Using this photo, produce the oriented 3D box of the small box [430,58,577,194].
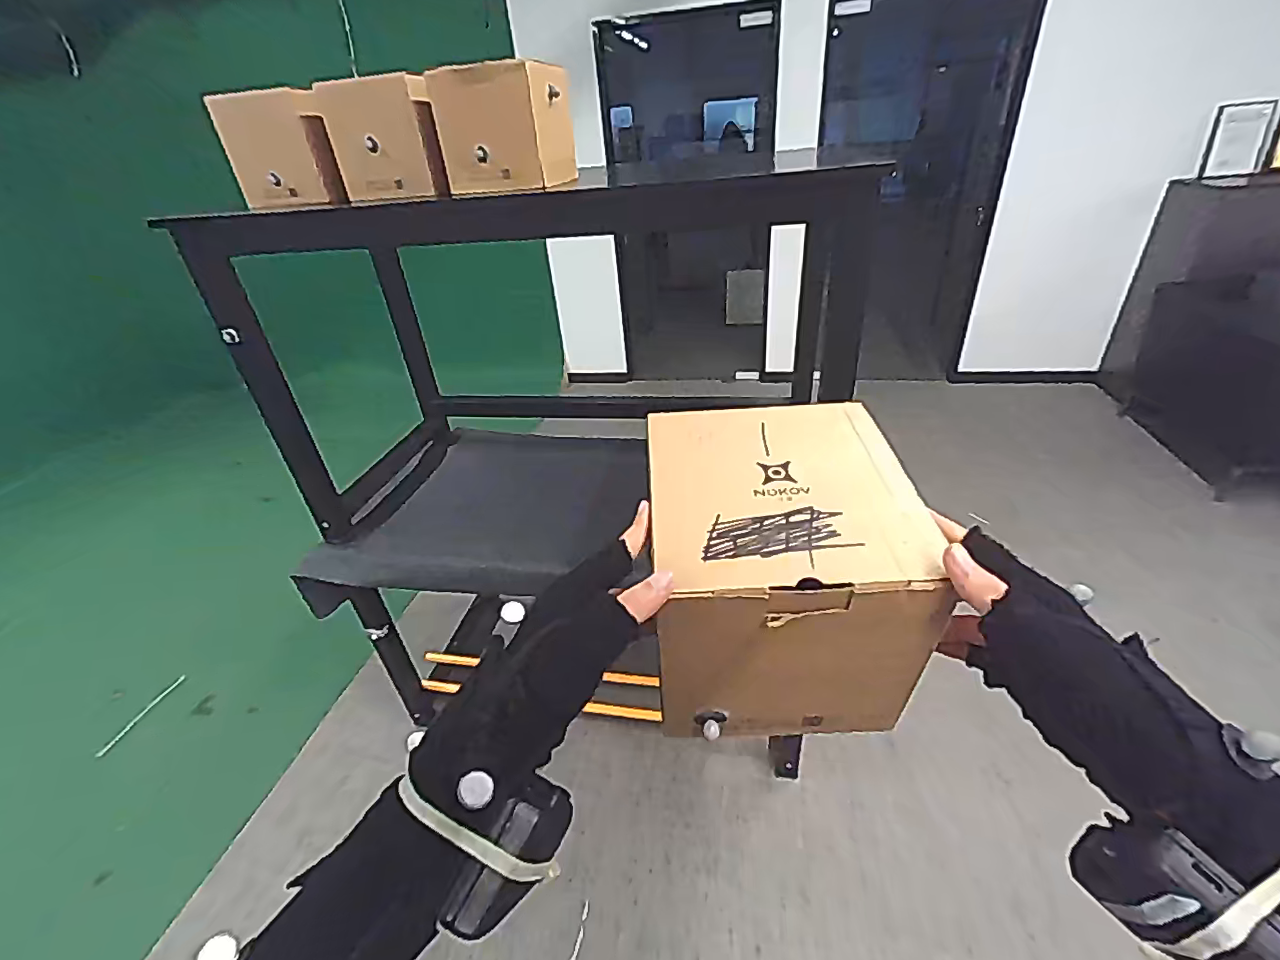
[{"bbox_3d":[-0.208,-0.569,0.883,0.168,0.176,0.179,3,34,12],"label":"small box"}]
